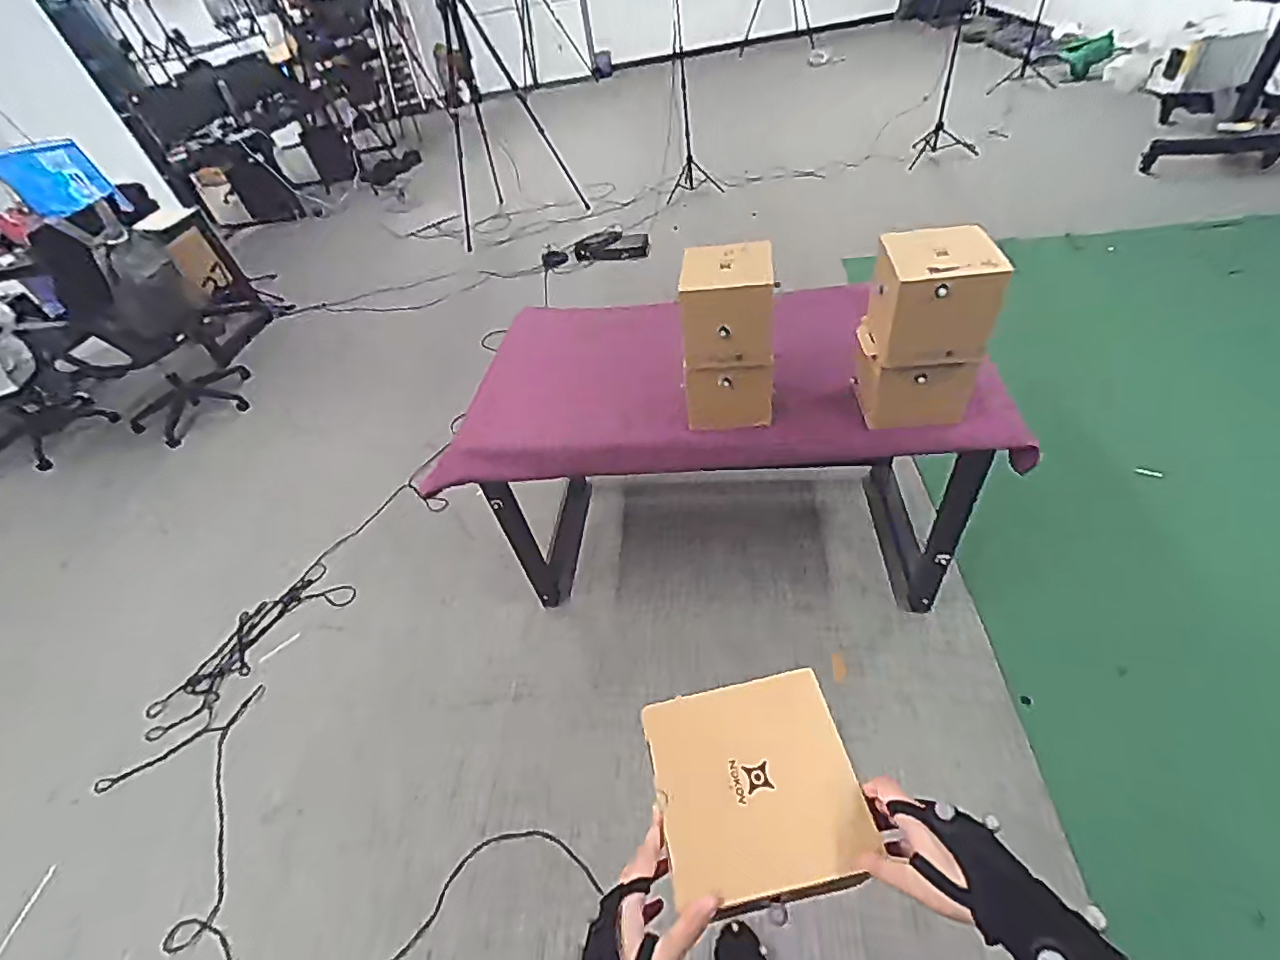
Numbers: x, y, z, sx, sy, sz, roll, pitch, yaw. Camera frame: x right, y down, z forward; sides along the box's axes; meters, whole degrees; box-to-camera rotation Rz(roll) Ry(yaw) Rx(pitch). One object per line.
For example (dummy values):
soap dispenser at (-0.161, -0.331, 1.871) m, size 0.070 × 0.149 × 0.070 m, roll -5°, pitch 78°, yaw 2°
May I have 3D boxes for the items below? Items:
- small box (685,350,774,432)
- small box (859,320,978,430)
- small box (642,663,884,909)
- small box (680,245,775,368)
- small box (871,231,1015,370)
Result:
small box at (0.197, -0.217, 1.166) m, size 0.179 × 0.176 × 0.168 m, roll -2°, pitch 45°, yaw 11°
small box at (0.546, -0.214, 1.081) m, size 0.179 × 0.176 × 0.168 m, roll -4°, pitch 46°, yaw 9°
small box at (0.112, 0.310, 0.543) m, size 0.179 × 0.176 × 0.168 m, roll -15°, pitch 49°, yaw 1°
small box at (0.176, -0.329, 1.047) m, size 0.168 × 0.176 × 0.179 m, roll 0°, pitch 46°, yaw 13°
small box at (0.516, -0.314, 0.953) m, size 0.168 × 0.176 × 0.179 m, roll -3°, pitch 45°, yaw 11°
